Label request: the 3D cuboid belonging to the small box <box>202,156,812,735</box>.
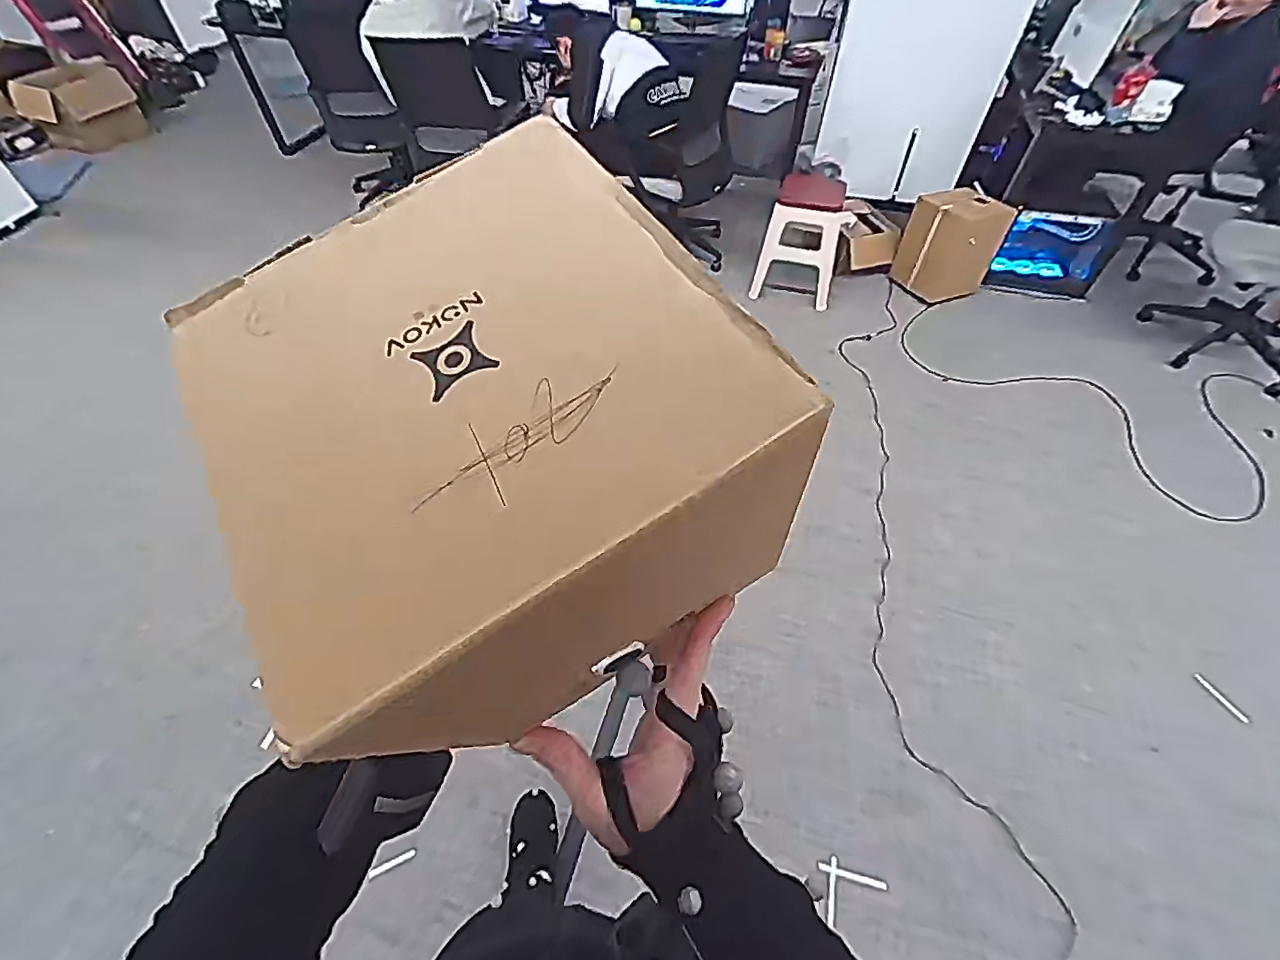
[{"bbox_3d":[-0.049,-0.002,0.259,0.168,0.176,0.179,-33,66,-7],"label":"small box"}]
